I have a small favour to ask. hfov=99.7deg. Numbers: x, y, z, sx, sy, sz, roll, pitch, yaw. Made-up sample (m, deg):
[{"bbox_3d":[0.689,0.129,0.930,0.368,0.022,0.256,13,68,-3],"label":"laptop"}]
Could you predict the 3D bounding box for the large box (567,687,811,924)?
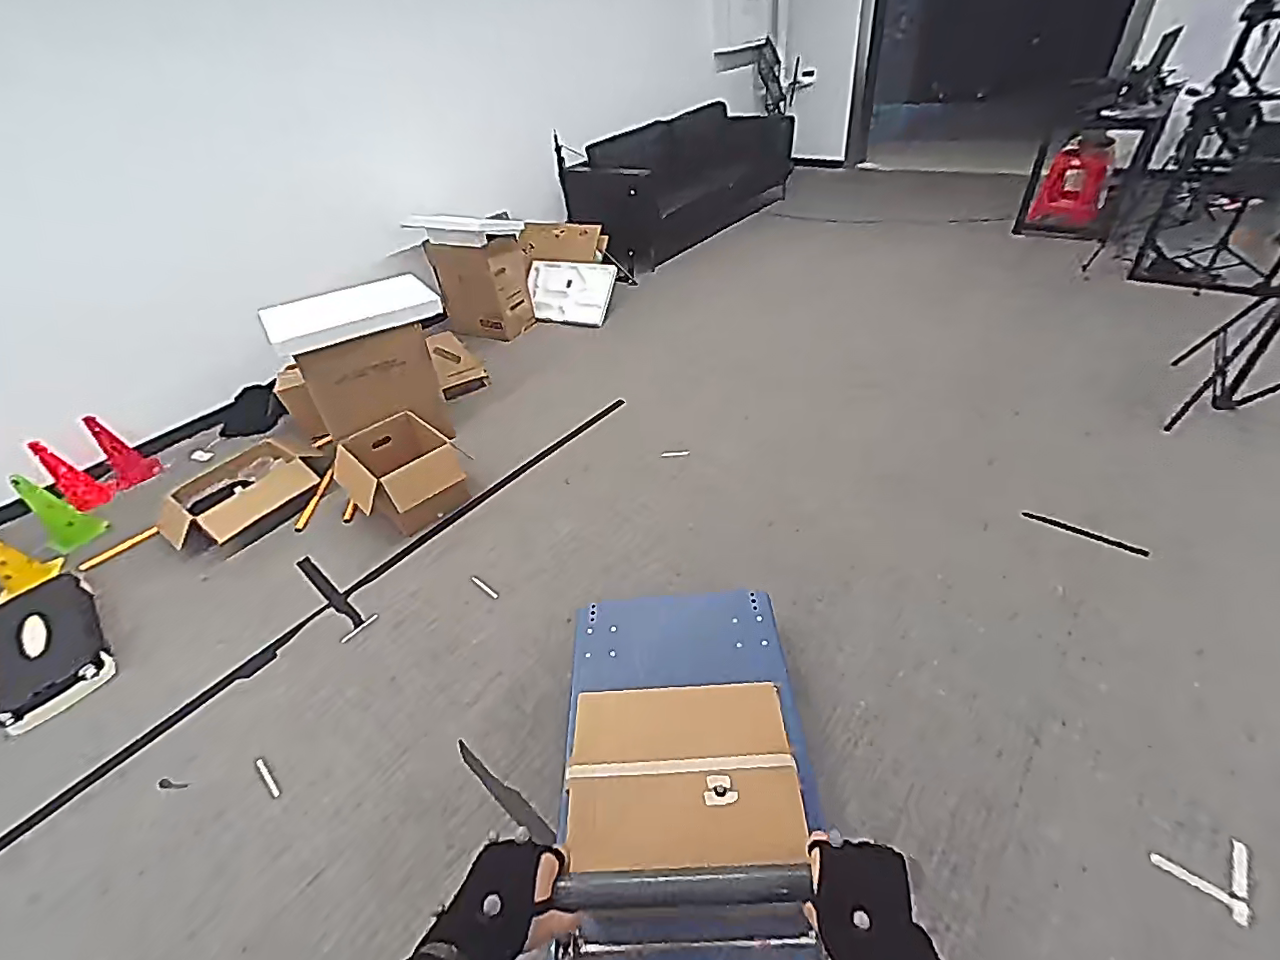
[{"bbox_3d":[0.084,0.643,1.072,0.408,0.320,0.320,-4,40,2],"label":"large box"}]
